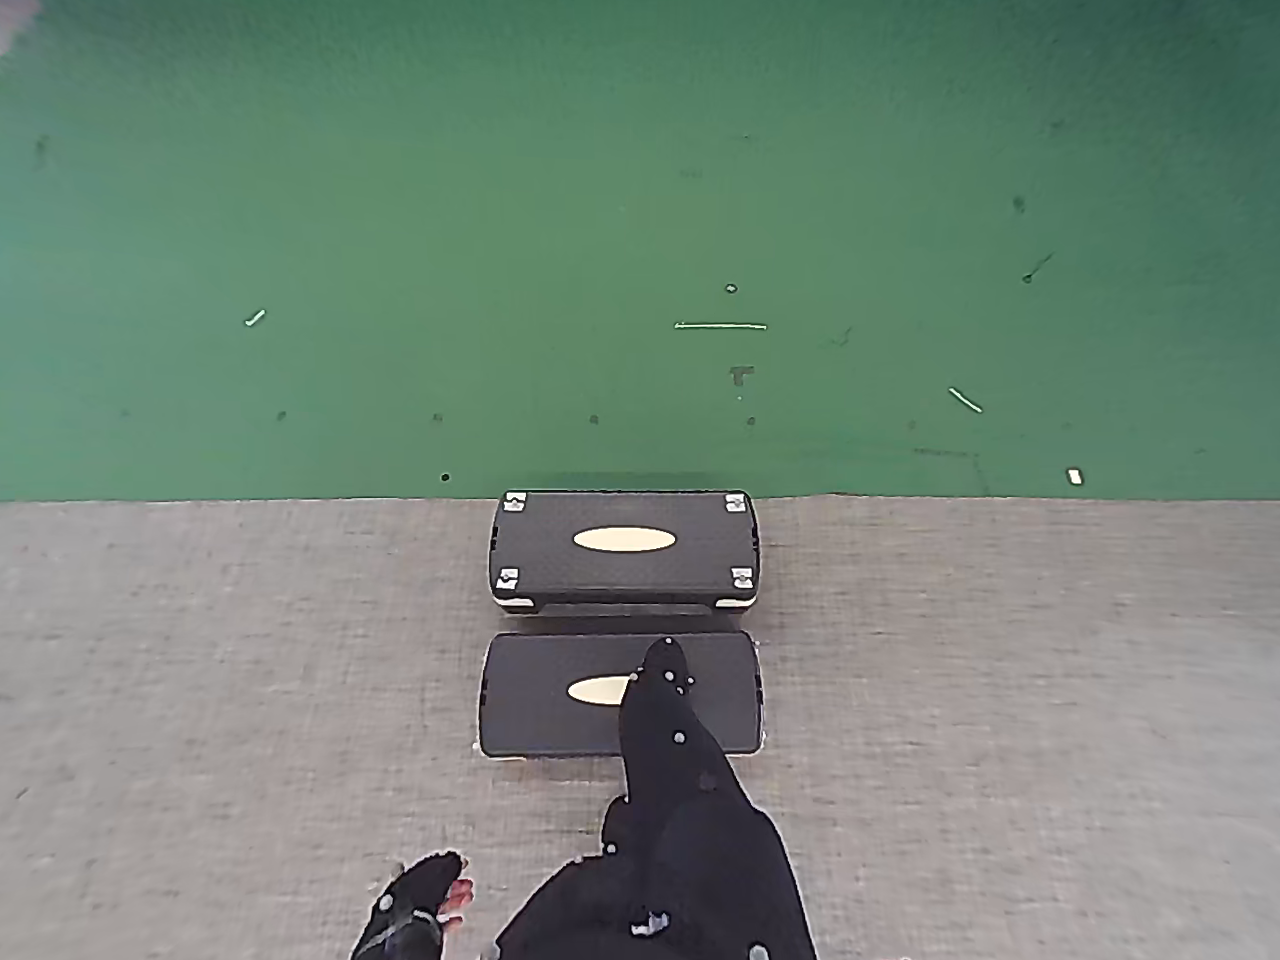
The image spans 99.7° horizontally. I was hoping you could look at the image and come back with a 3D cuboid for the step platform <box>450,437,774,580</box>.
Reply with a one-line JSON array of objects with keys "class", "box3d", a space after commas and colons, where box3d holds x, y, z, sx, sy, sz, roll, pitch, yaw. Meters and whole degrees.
[{"class": "step platform", "box3d": [-0.058, 0.071, 1.231, 0.684, 0.204, 0.286, -1, 64, 0]}]
